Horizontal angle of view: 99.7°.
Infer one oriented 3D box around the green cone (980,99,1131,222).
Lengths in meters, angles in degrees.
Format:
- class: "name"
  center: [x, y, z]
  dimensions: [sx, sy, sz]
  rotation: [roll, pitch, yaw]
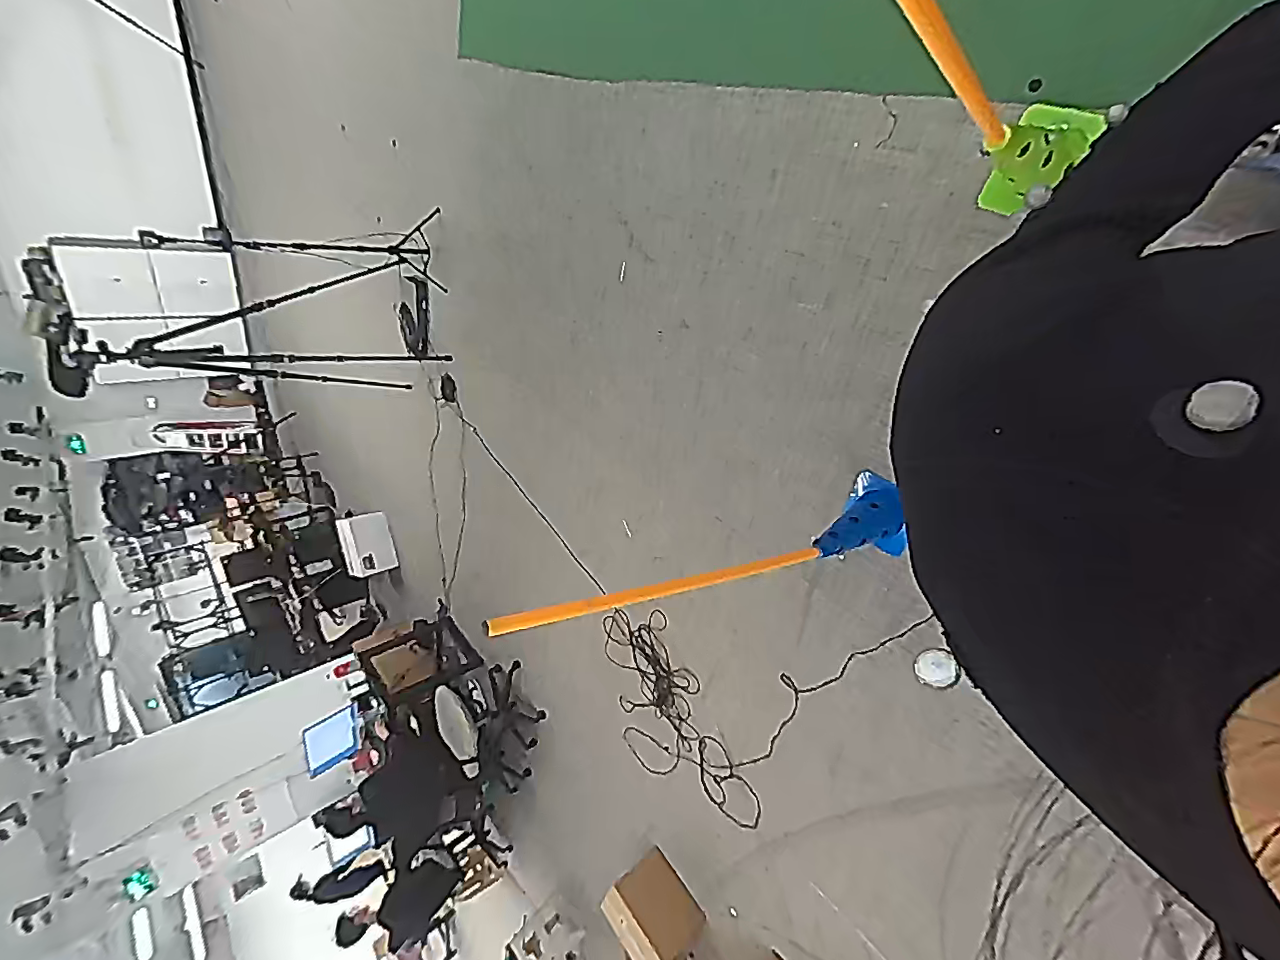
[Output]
- class: "green cone"
  center: [0.729, -0.628, 1.017]
  dimensions: [0.202, 0.368, 0.200]
  rotation: [41, 130, 33]
